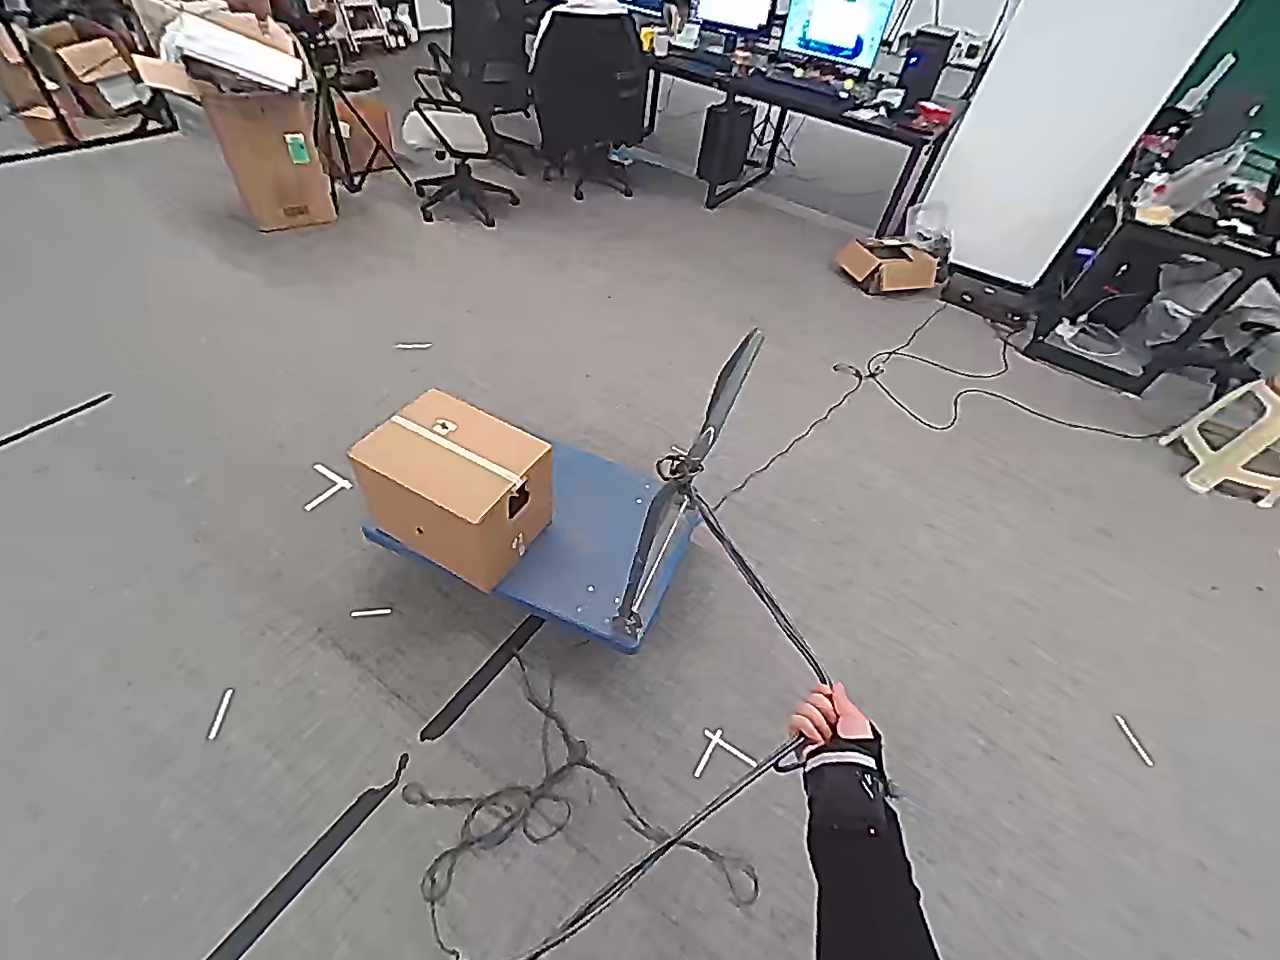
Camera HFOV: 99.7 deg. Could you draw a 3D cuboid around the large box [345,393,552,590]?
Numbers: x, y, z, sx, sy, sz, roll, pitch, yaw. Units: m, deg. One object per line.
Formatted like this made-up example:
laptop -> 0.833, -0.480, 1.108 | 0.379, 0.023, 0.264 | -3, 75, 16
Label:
large box -> -0.489, 0.030, 1.471 | 0.408, 0.320, 0.320 | 25, 49, 14
